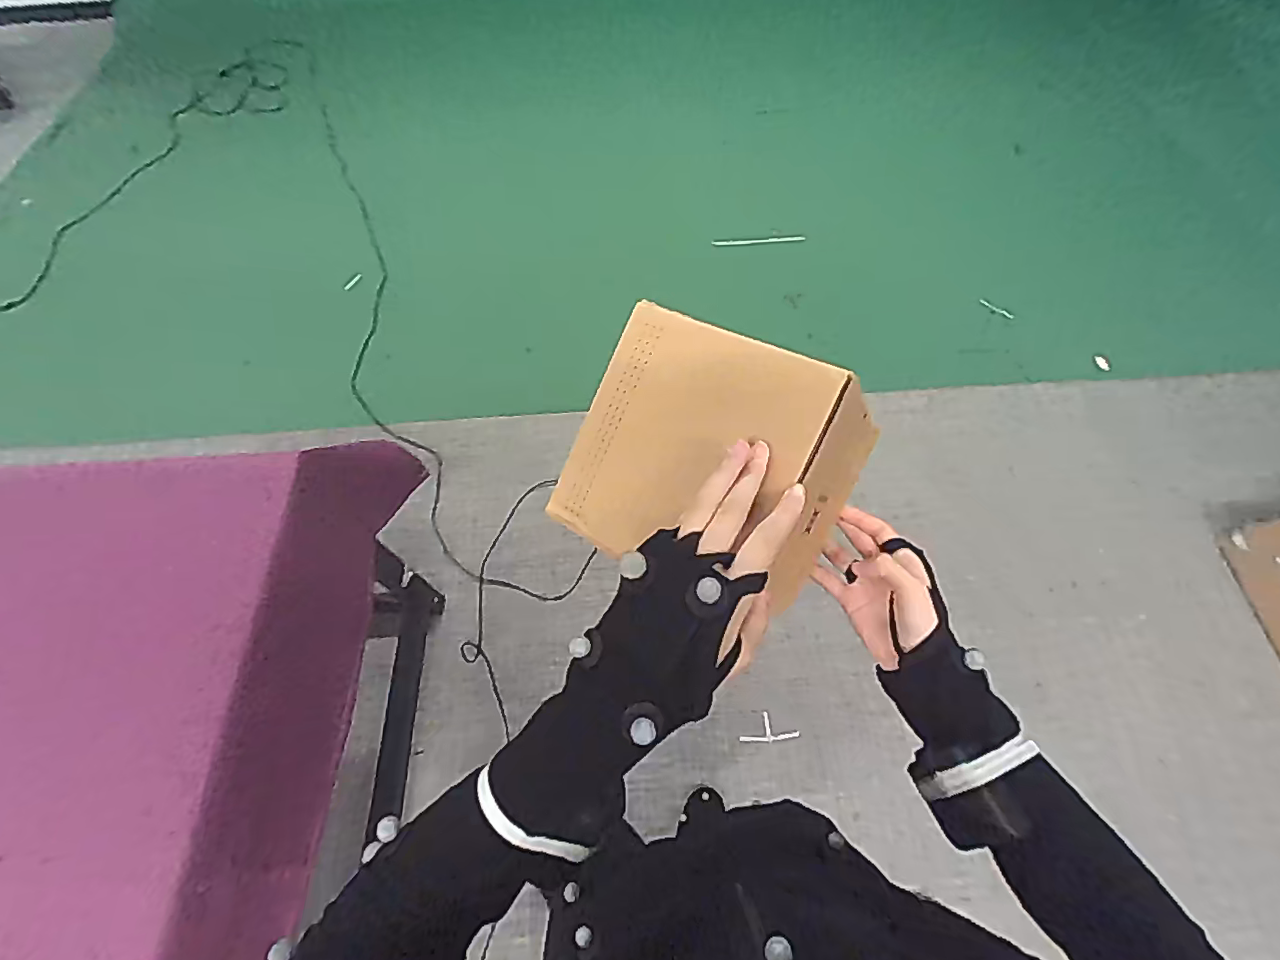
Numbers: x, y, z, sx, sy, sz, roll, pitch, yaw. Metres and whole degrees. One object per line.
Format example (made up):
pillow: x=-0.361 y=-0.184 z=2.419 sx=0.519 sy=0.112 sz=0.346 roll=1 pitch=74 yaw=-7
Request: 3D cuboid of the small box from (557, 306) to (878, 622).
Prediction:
small box: x=0.060 y=-0.011 z=0.435 sx=0.176 sy=0.168 sz=0.179 roll=30 pitch=98 yaw=30
